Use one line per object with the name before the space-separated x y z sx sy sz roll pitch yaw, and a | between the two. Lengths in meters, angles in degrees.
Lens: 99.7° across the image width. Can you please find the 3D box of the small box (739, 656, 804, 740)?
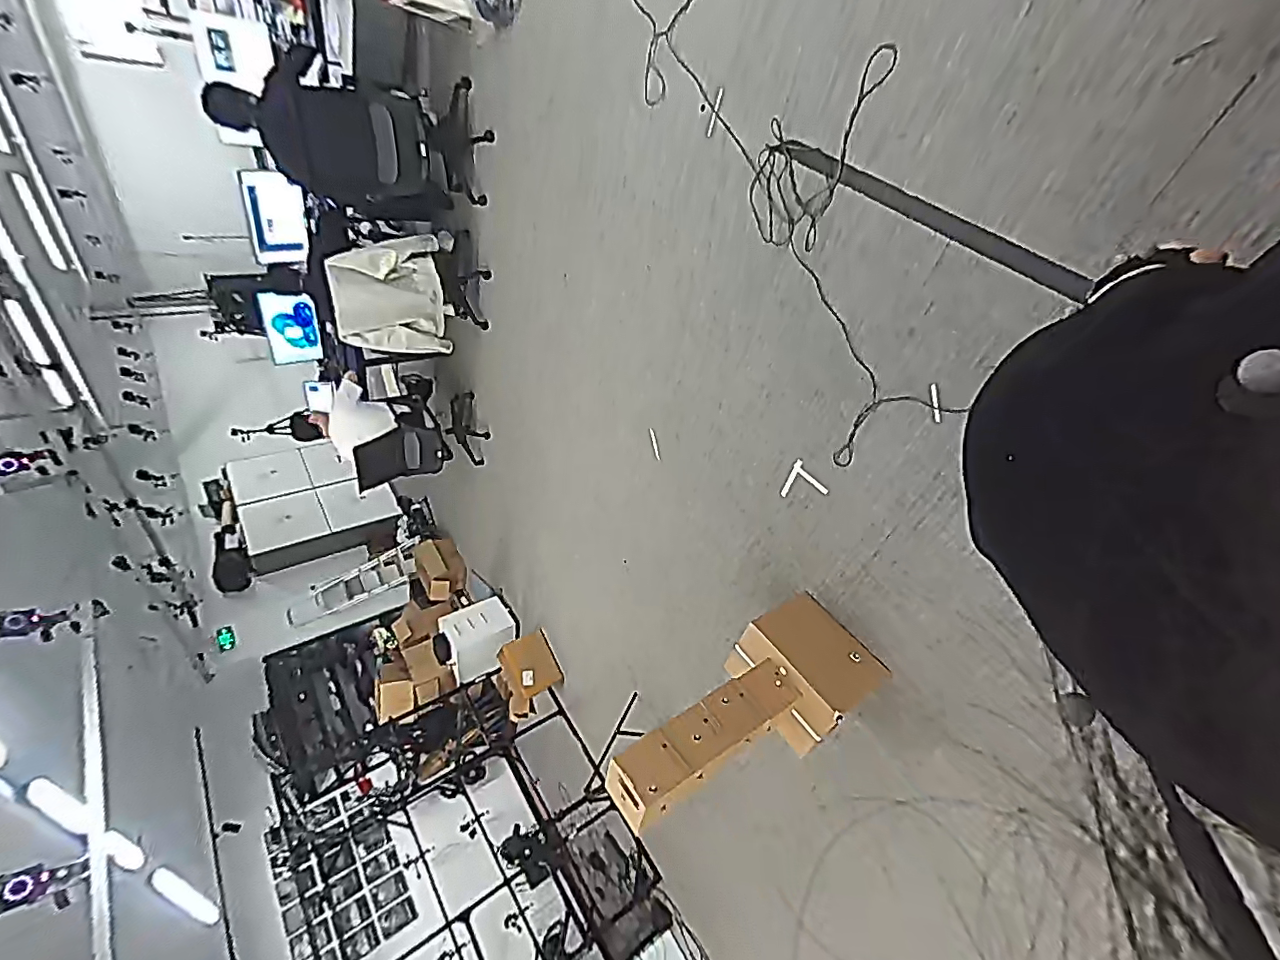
small box | 0.421 0.732 1.824 0.168 0.176 0.179 46 138 33

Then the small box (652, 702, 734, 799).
small box | 0.162 0.815 1.642 0.168 0.176 0.179 43 136 38

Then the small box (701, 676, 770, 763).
small box | 0.291 0.767 1.733 0.168 0.176 0.179 46 139 35
